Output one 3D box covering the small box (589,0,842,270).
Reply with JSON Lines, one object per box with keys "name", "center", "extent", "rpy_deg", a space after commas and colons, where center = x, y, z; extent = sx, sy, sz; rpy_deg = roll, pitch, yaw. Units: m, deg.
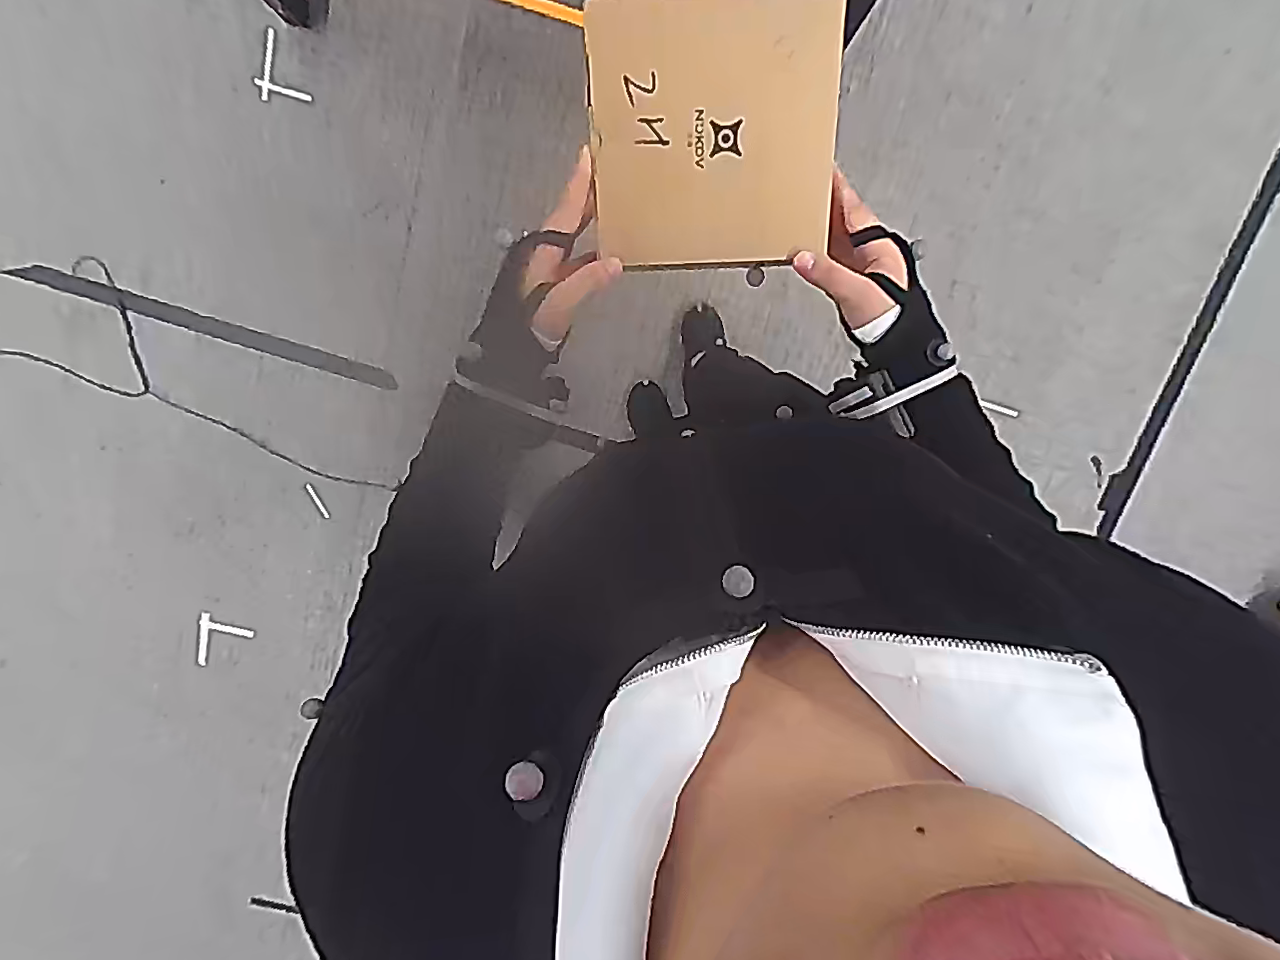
{"name": "small box", "center": [0.051, -0.275, 0.466], "extent": [0.179, 0.176, 0.168], "rpy_deg": [-2, 109, 0]}
